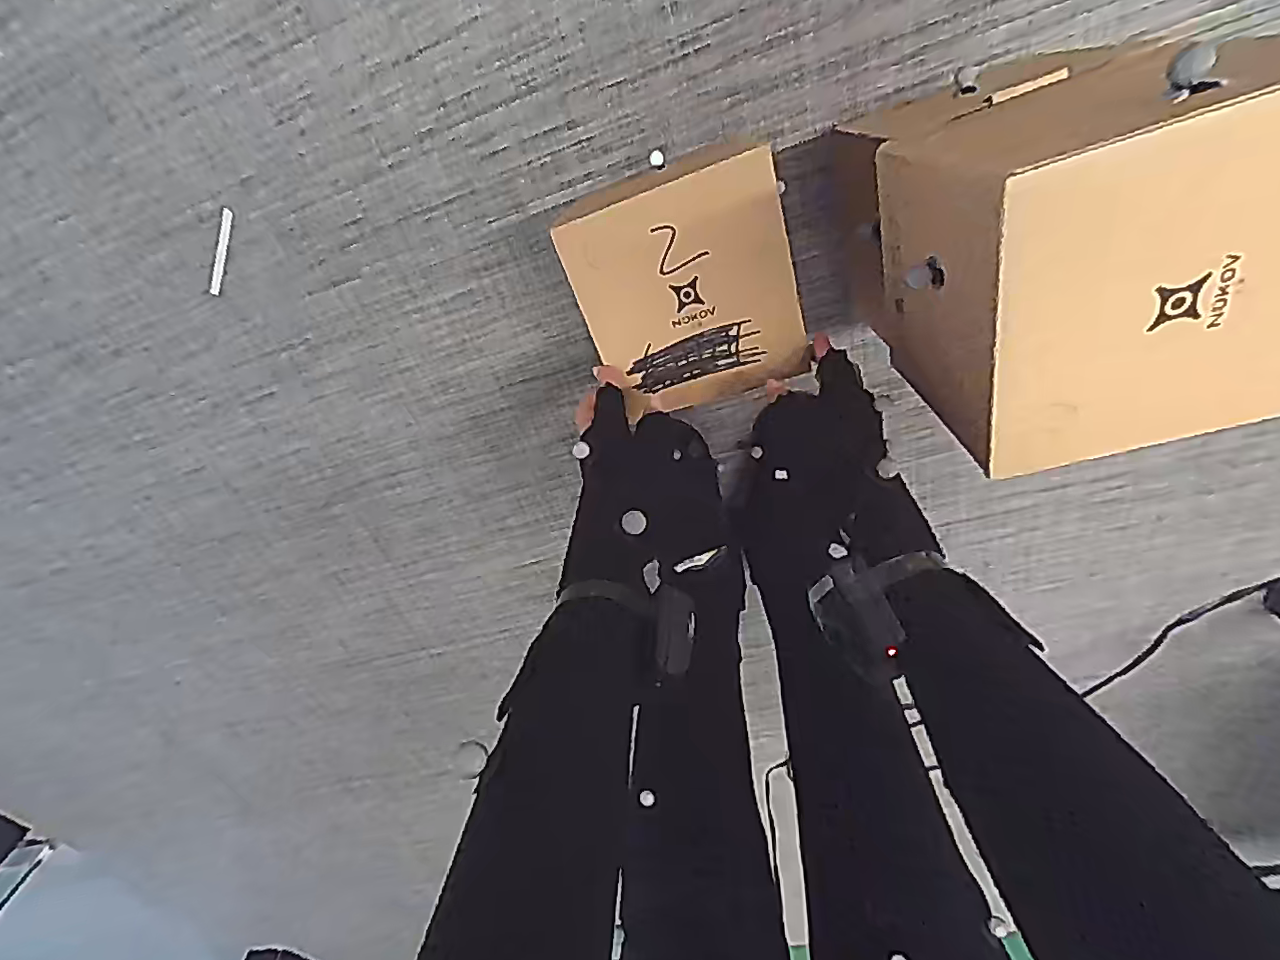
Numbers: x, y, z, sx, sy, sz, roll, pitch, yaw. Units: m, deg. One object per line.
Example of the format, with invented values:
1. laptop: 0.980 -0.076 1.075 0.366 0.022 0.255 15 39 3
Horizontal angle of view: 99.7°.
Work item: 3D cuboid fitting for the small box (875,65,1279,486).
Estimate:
1. small box: 0.258 -0.125 0.331 0.179 0.176 0.168 -15 122 11
